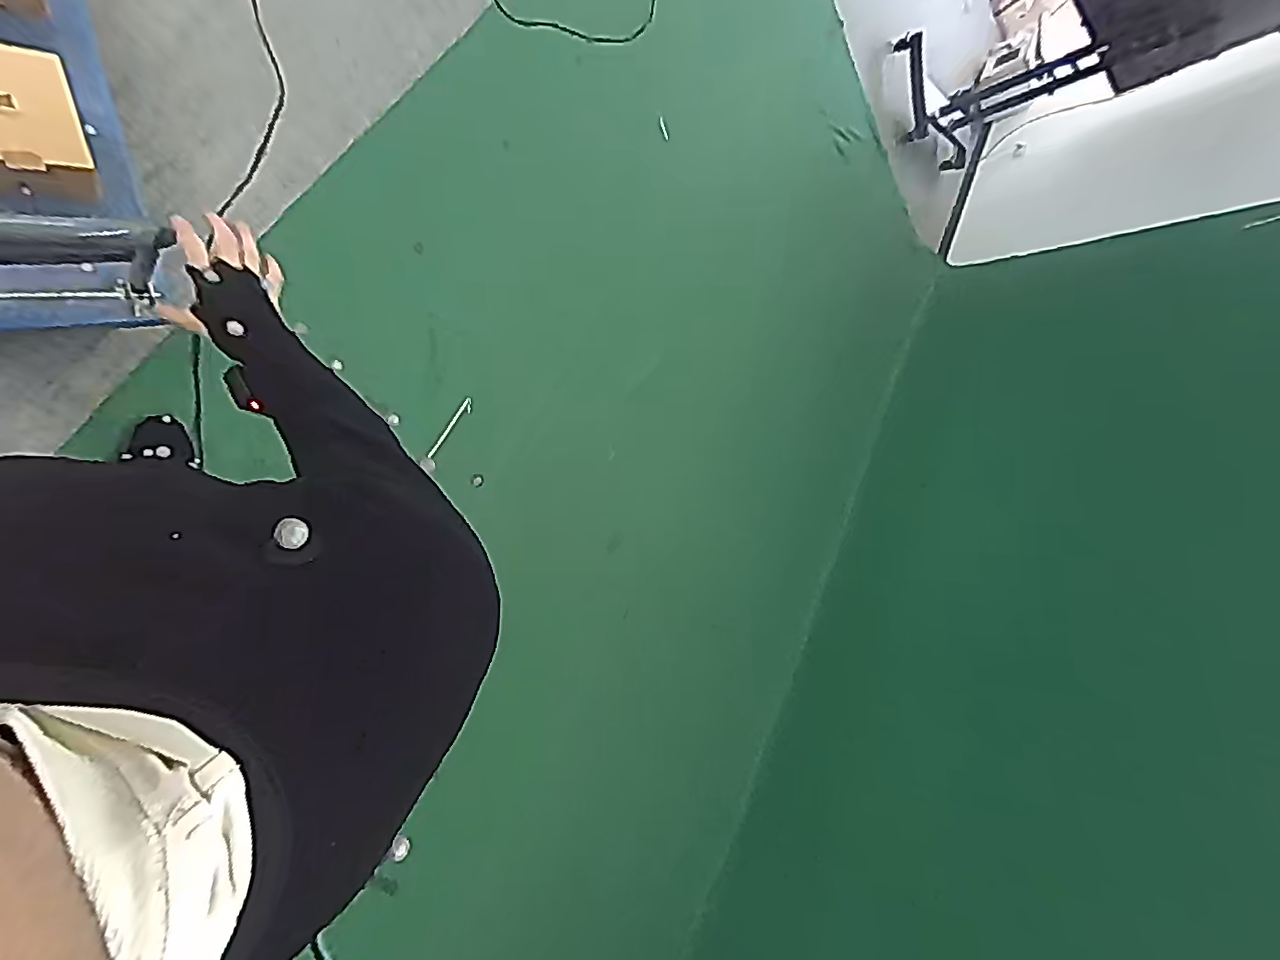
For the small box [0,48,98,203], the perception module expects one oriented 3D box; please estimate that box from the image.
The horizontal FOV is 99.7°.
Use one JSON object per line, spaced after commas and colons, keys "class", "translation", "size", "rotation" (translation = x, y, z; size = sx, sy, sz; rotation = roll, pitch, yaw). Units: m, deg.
{"class": "small box", "translation": [-1.048, -0.590, 0.905], "size": [0.168, 0.176, 0.179], "rotation": [-19, 107, -41]}
